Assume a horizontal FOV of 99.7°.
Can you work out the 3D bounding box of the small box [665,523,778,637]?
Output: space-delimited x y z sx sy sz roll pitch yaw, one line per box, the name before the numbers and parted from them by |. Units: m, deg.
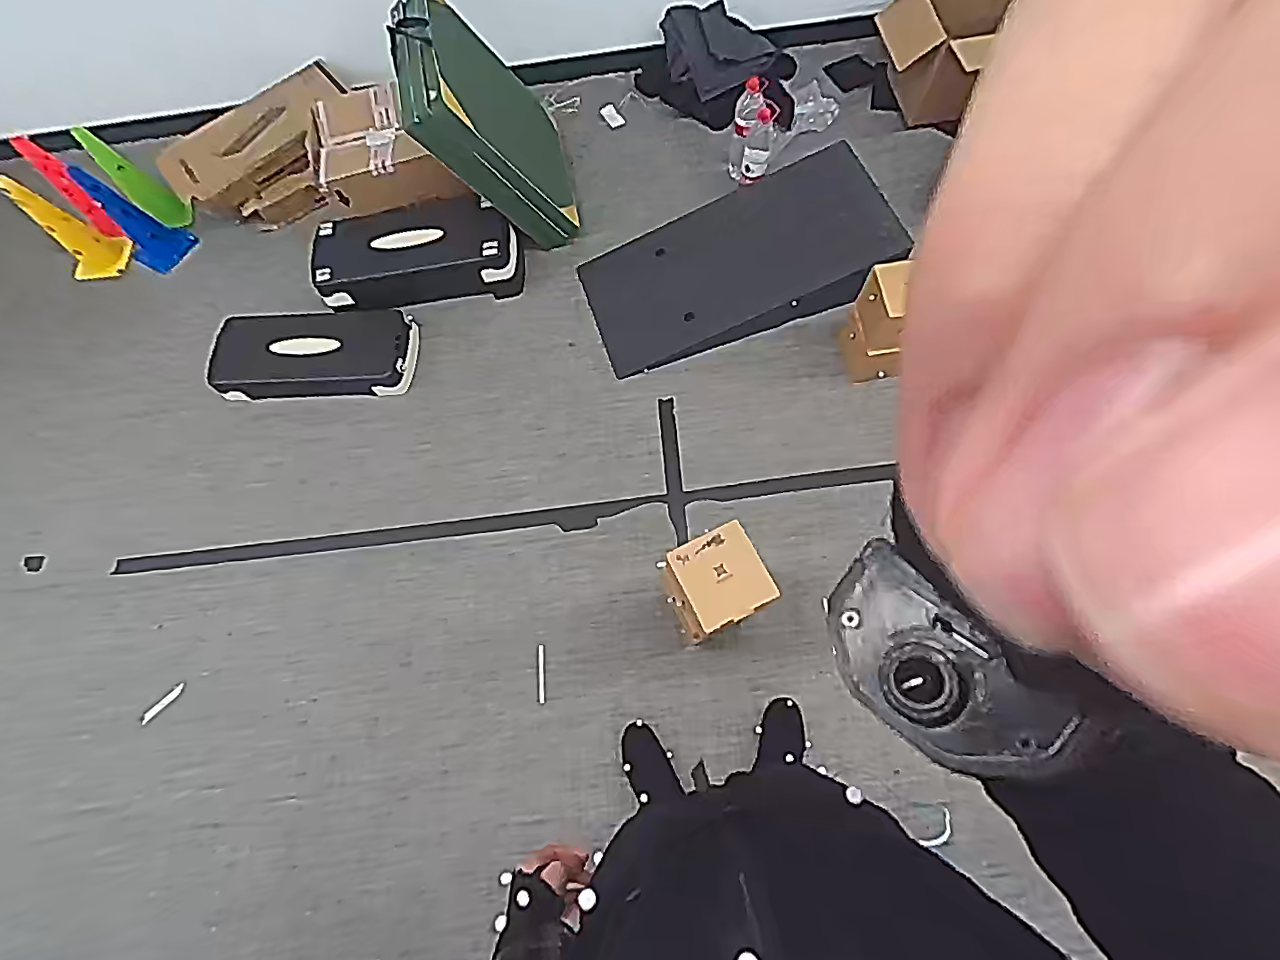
small box | 0.164 0.217 1.137 0.168 0.176 0.179 -25 71 -6
